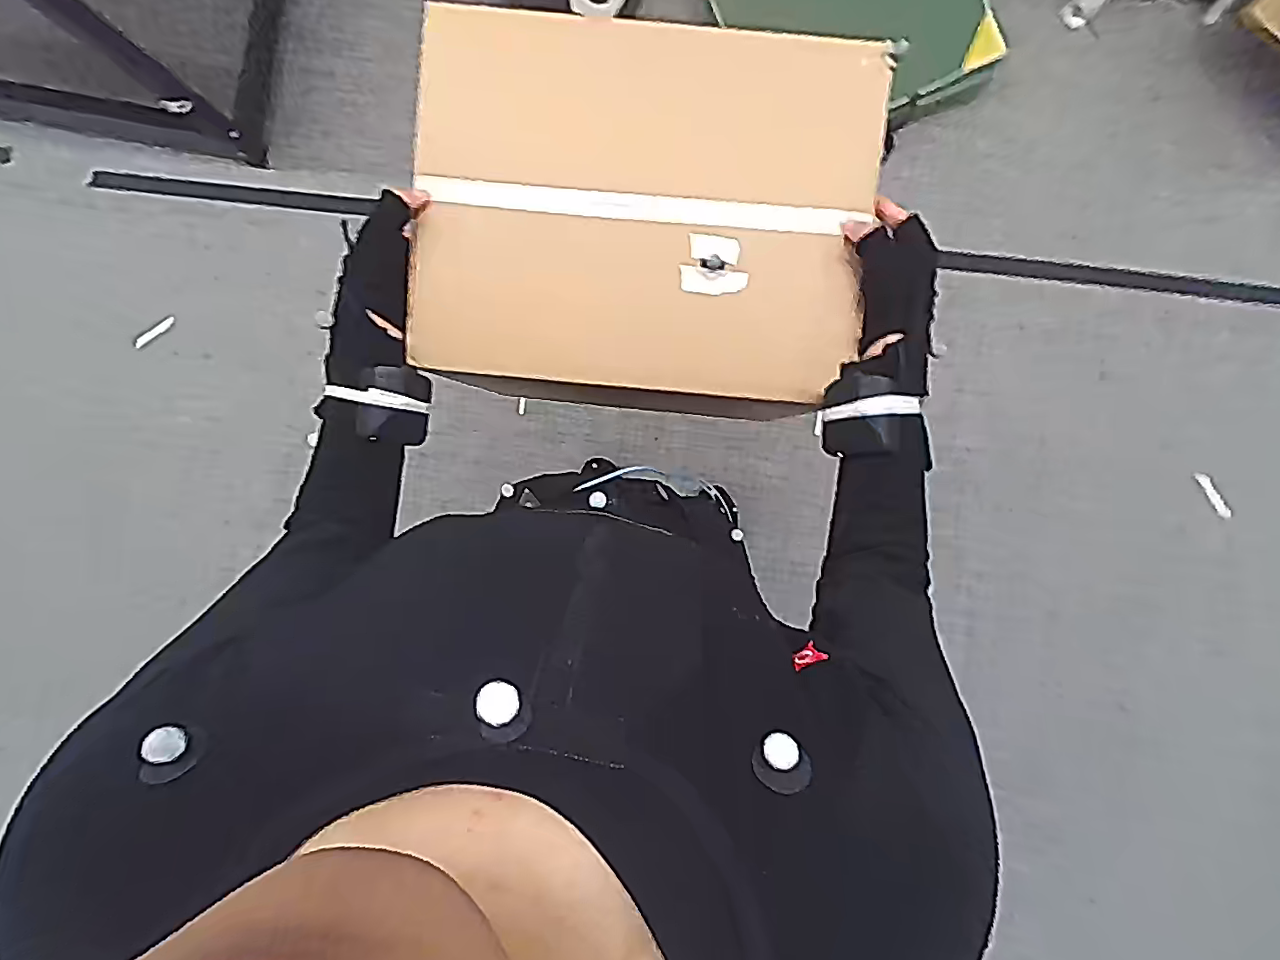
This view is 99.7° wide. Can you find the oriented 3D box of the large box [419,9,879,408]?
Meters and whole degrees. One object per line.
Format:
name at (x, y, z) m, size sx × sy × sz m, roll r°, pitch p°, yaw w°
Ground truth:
large box at (0.002, -0.260, 0.636) m, size 0.408 × 0.320 × 0.320 m, roll 5°, pitch 95°, yaw -1°
